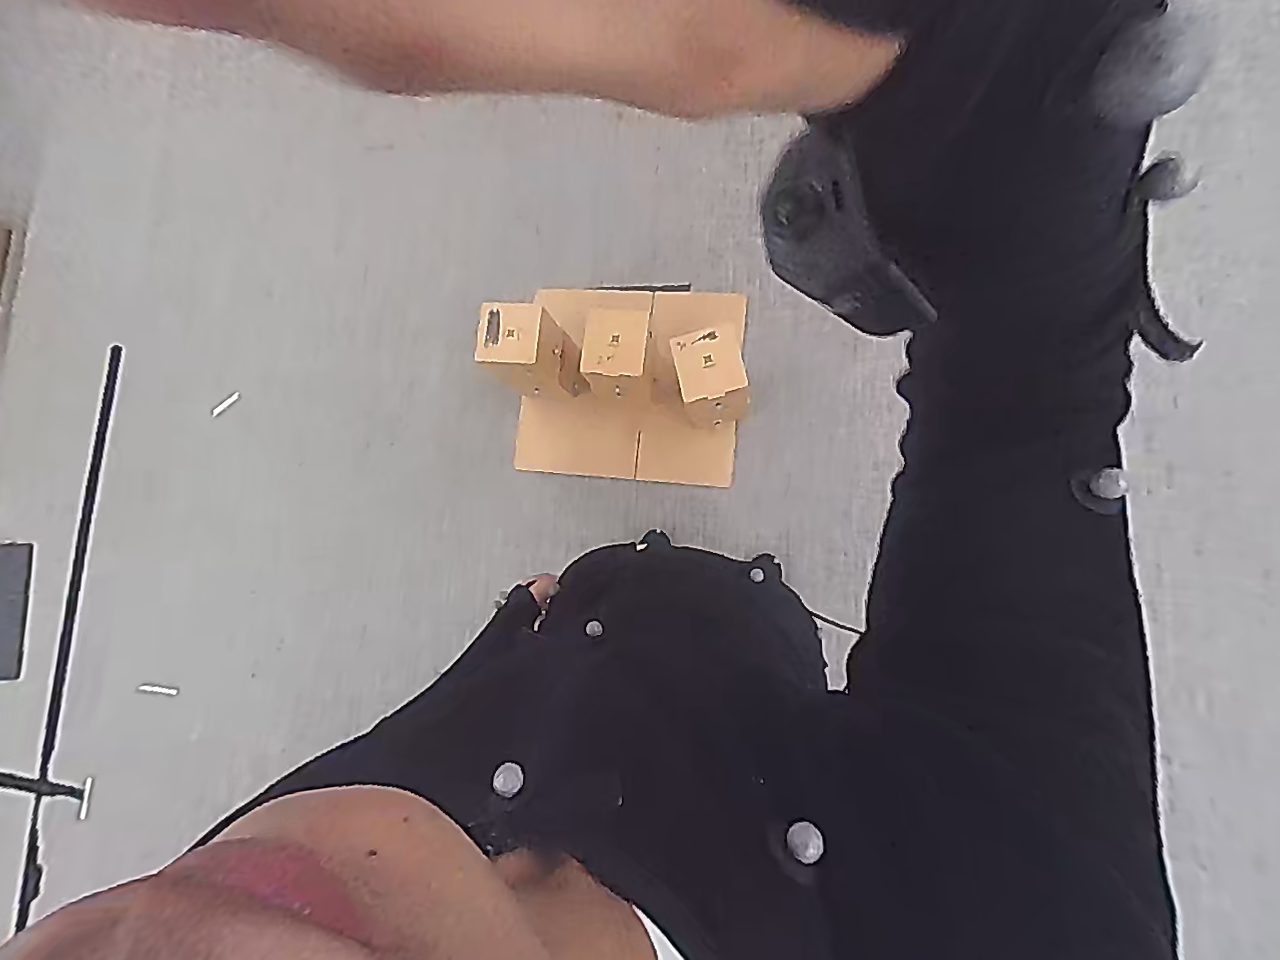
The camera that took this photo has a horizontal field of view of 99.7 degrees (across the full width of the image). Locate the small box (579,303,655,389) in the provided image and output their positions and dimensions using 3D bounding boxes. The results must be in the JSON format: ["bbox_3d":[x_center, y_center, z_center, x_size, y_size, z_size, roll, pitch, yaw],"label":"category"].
[{"bbox_3d":[-0.055,-0.358,1.464,0.168,0.176,0.179,7,86,9],"label":"small box"}]

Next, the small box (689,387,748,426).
[{"bbox_3d":[0.212,-0.276,1.581,0.168,0.176,0.179,-16,81,8],"label":"small box"}]

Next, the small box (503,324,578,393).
[{"bbox_3d":[-0.301,-0.371,1.670,0.179,0.176,0.168,5,85,11],"label":"small box"}]

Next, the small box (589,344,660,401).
[{"bbox_3d":[-0.040,-0.340,1.627,0.179,0.176,0.168,6,86,10],"label":"small box"}]

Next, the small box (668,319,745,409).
[{"bbox_3d":[0.179,-0.294,1.422,0.168,0.176,0.179,-13,83,8],"label":"small box"}]
